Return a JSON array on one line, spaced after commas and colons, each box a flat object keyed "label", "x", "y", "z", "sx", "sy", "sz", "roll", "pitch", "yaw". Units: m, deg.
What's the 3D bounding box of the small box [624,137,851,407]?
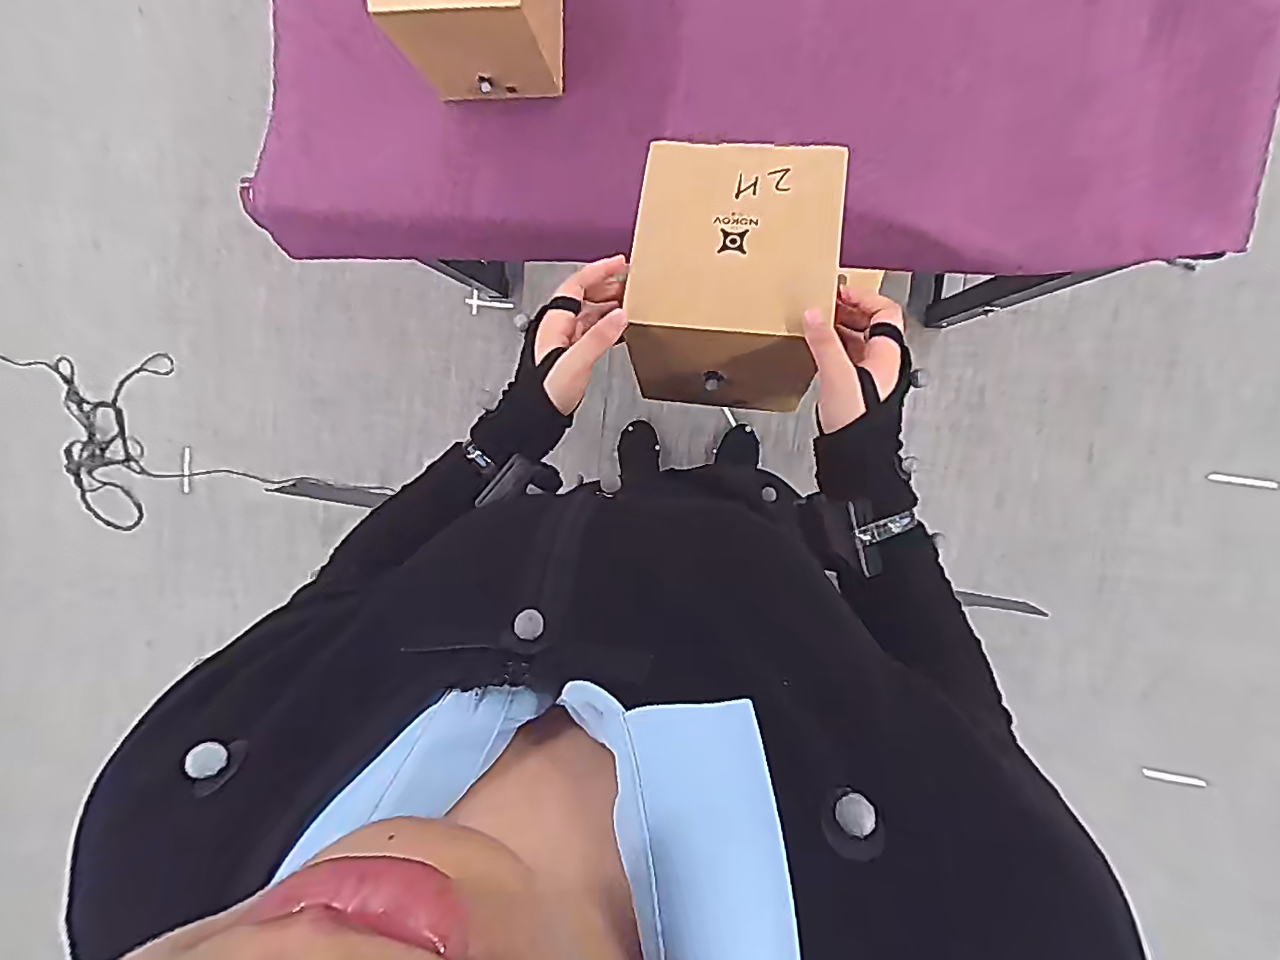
[{"label": "small box", "x": 0.088, "y": -0.183, "z": 0.515, "sx": 0.168, "sy": 0.176, "sz": 0.179, "roll": 8, "pitch": 76, "yaw": 7}]

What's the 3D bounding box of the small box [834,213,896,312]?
[{"label": "small box", "x": 0.478, "y": -0.515, "z": 1.293, "sx": 0.168, "sy": 0.176, "sz": 0.179, "roll": 16, "pitch": 99, "yaw": 4}]
